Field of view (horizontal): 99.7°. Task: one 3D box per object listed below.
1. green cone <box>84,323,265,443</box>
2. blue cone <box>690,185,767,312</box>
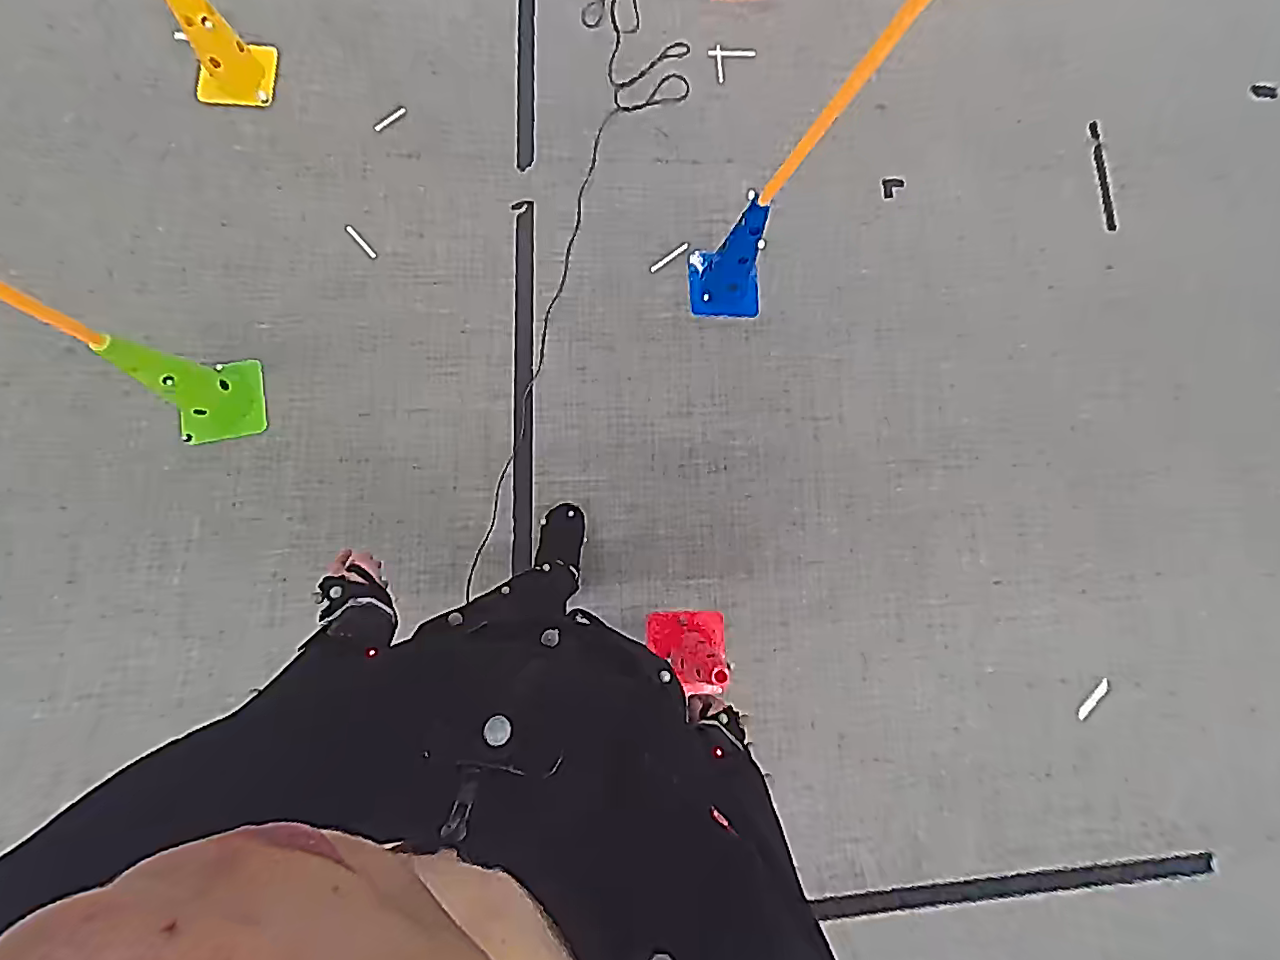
[{"bbox_3d":[-1.044,-0.238,1.199,0.200,0.368,0.202,-12,79,-7],"label":"green cone"},{"bbox_3d":[0.256,-0.605,1.397,0.193,0.380,0.192,1,79,-5],"label":"blue cone"}]
